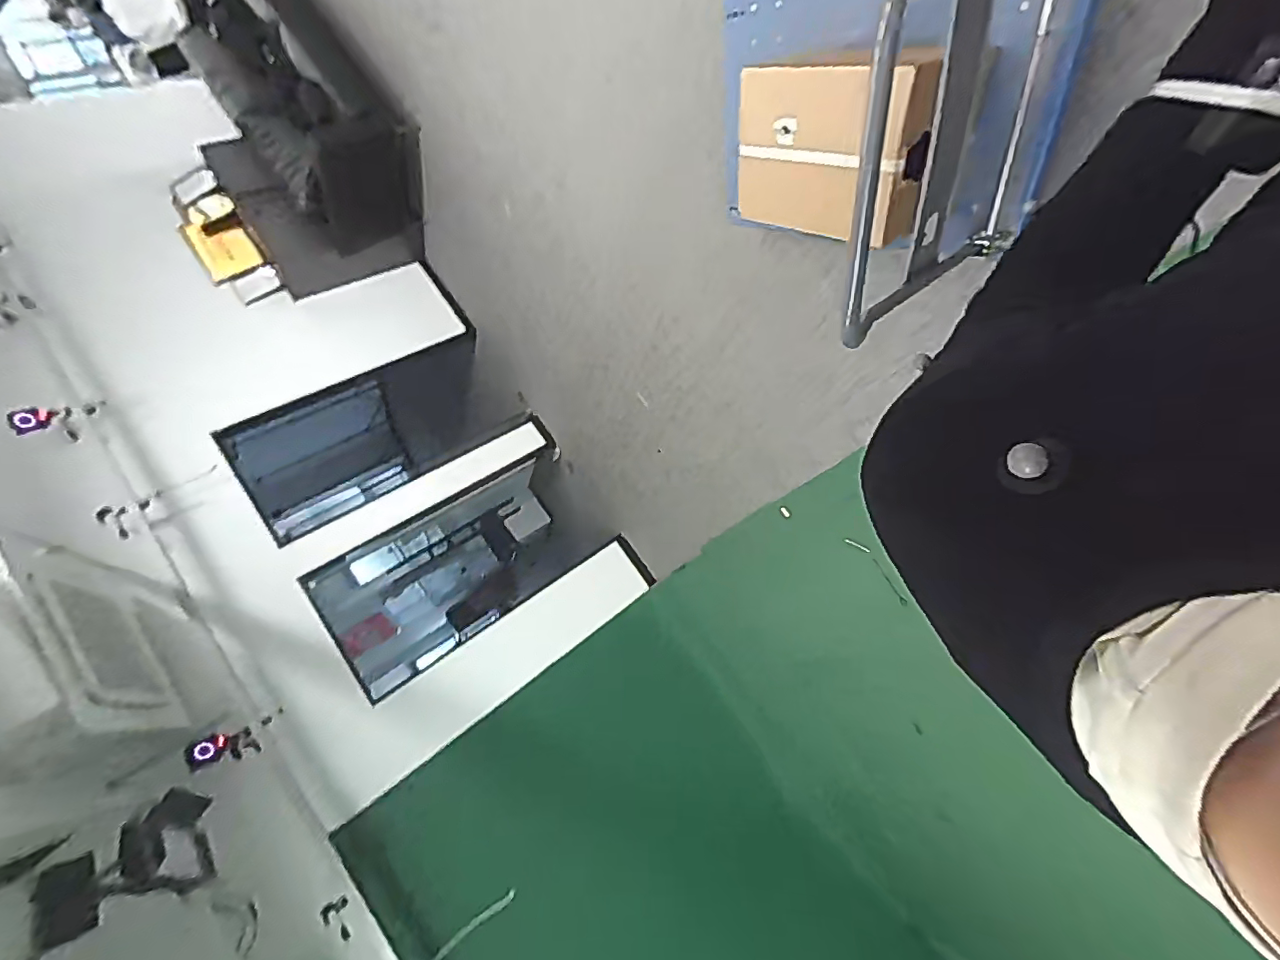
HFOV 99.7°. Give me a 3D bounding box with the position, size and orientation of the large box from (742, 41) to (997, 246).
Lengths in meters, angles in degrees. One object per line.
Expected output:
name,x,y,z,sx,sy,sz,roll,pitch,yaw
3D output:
large box,0.487,-0.763,1.217,0.408,0.320,0.320,36,146,38
